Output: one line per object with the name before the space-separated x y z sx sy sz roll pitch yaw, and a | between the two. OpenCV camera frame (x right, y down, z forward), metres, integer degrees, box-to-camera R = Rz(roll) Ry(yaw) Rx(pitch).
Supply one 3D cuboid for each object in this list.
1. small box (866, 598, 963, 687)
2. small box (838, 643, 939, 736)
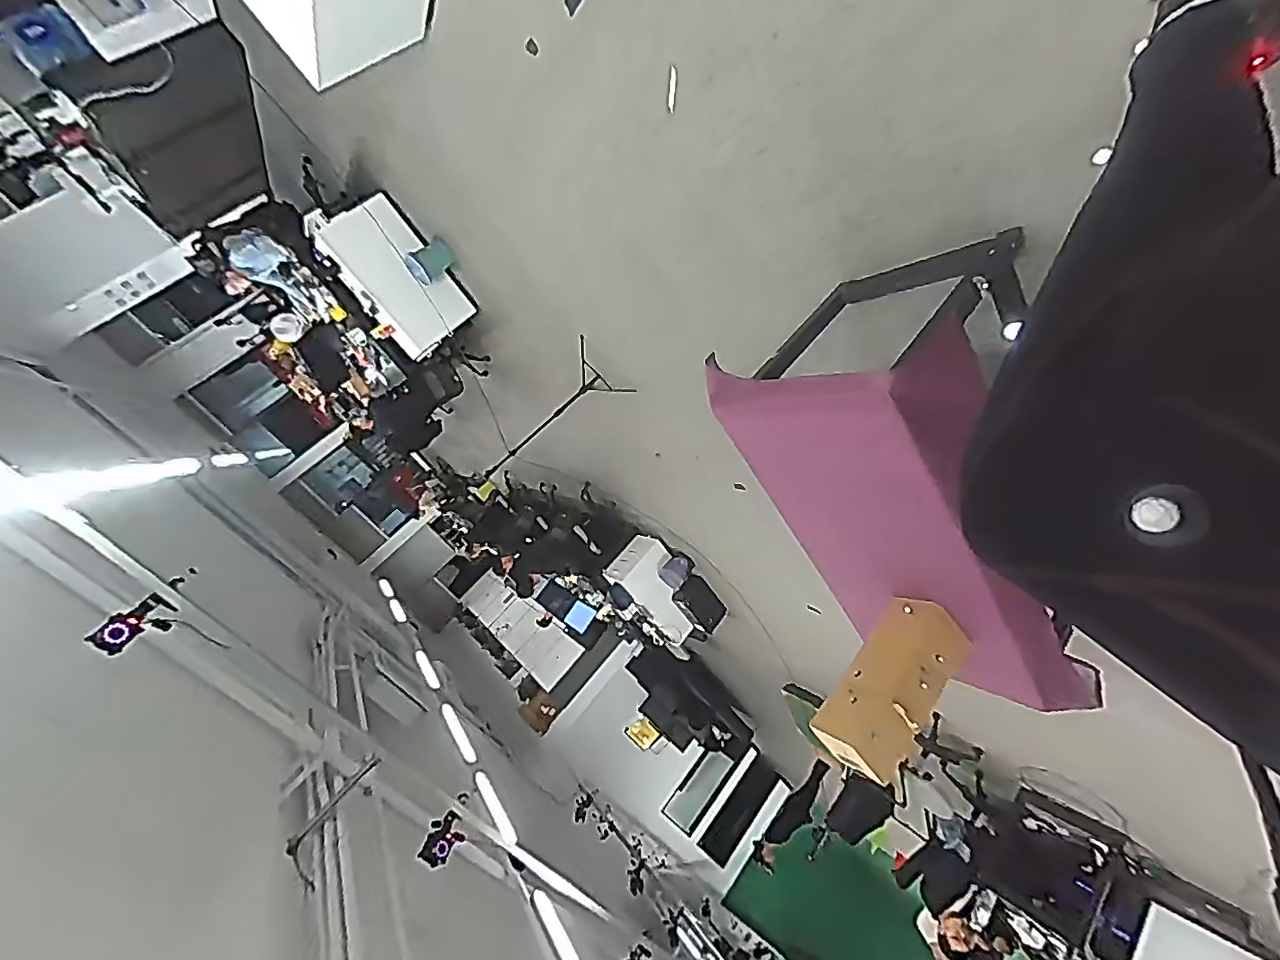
small box | 0.833 0.485 1.634 0.179 0.176 0.168 50 158 -13
small box | 0.729 0.603 1.584 0.168 0.176 0.179 48 159 -12
